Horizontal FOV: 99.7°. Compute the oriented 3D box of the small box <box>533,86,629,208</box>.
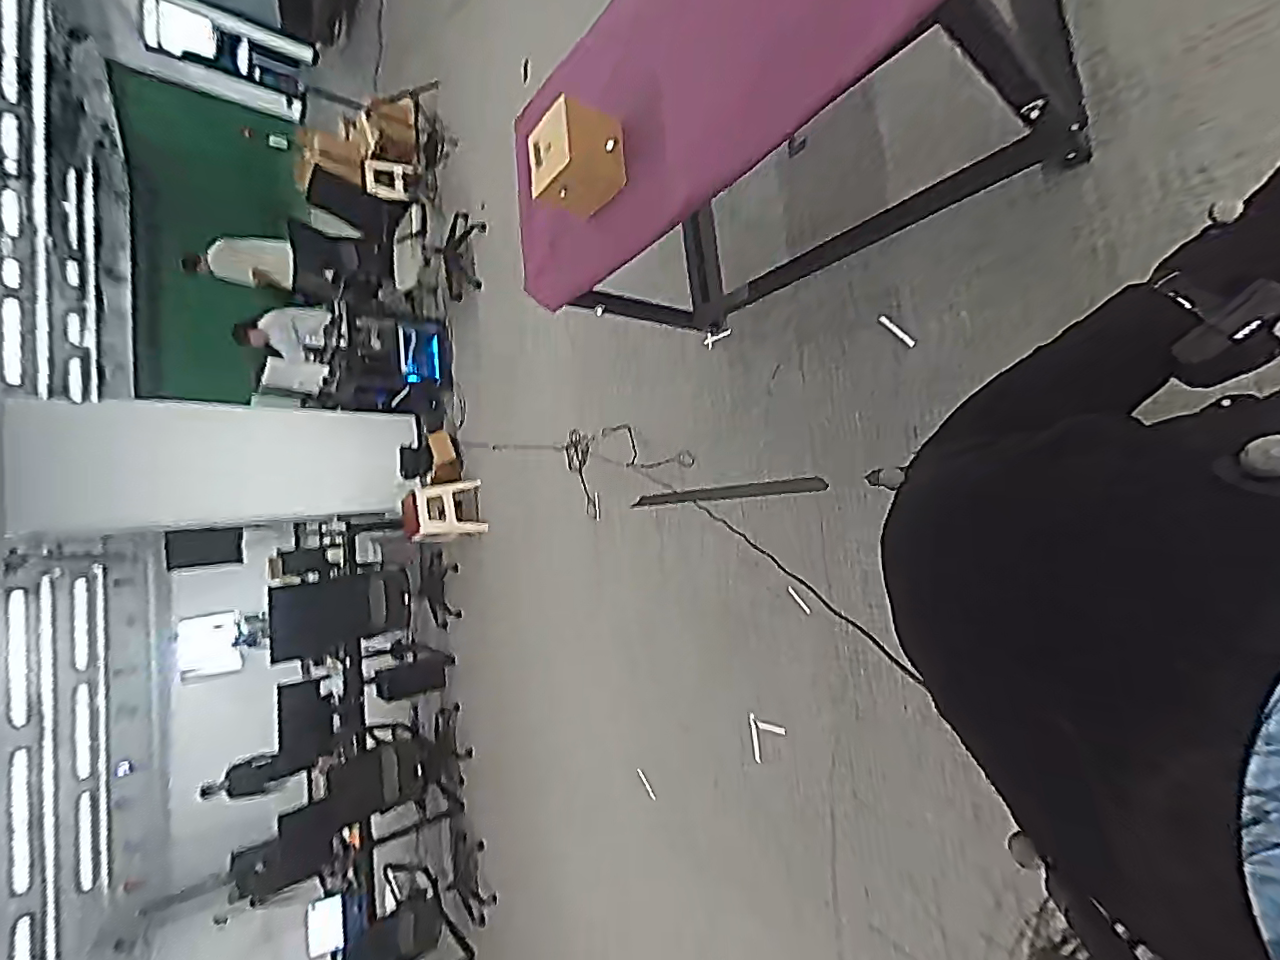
[{"bbox_3d":[-0.146,-0.805,1.331,0.179,0.176,0.168,-9,85,50],"label":"small box"}]
